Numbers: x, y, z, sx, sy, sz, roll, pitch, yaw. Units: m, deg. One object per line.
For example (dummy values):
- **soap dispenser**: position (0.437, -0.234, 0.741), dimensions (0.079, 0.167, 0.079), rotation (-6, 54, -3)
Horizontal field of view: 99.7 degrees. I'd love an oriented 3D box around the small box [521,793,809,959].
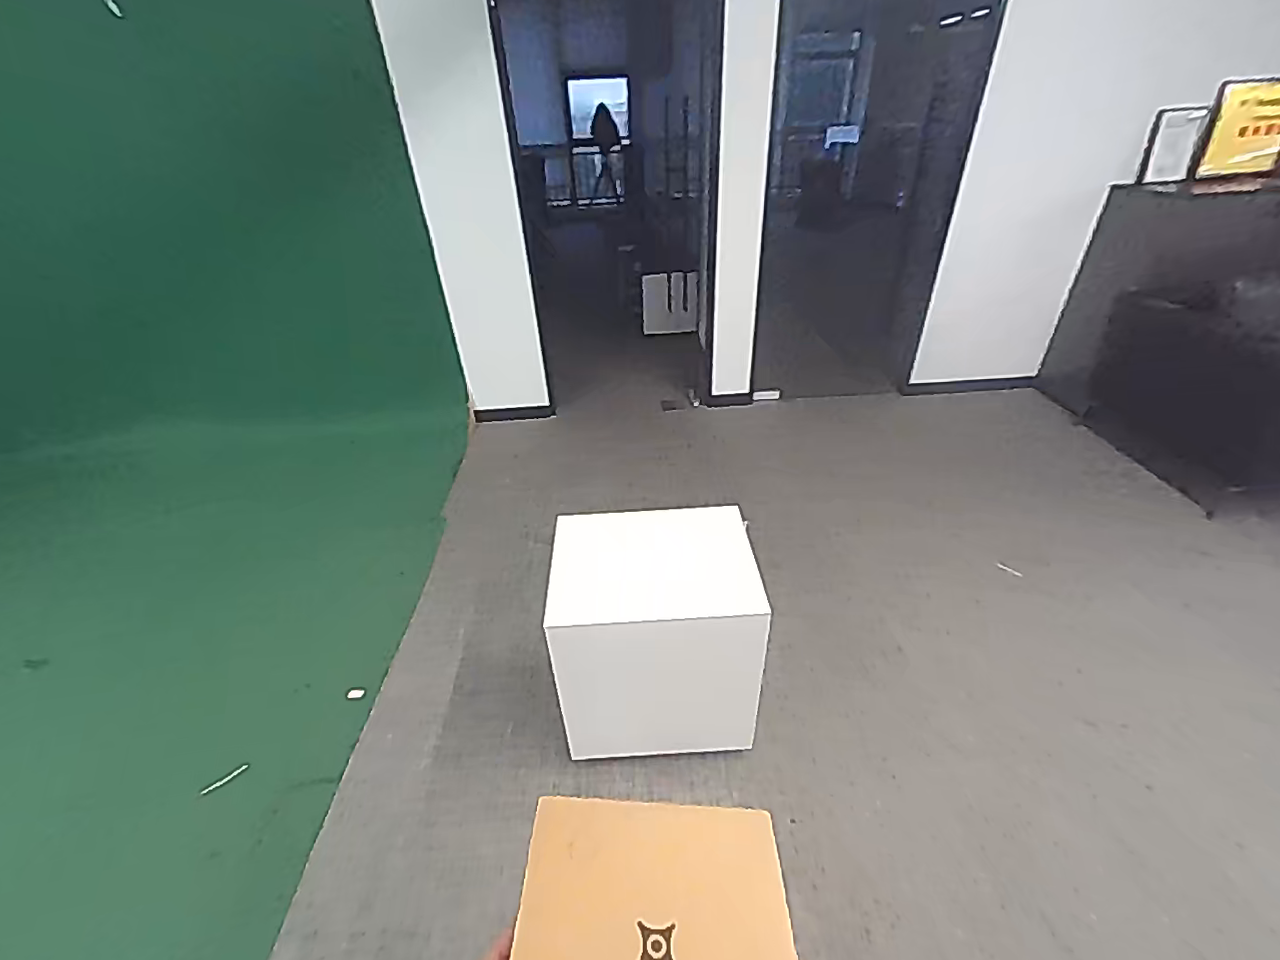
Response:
- **small box**: position (0.008, 0.336, 0.342), dimensions (0.168, 0.176, 0.179), rotation (3, 28, -2)
